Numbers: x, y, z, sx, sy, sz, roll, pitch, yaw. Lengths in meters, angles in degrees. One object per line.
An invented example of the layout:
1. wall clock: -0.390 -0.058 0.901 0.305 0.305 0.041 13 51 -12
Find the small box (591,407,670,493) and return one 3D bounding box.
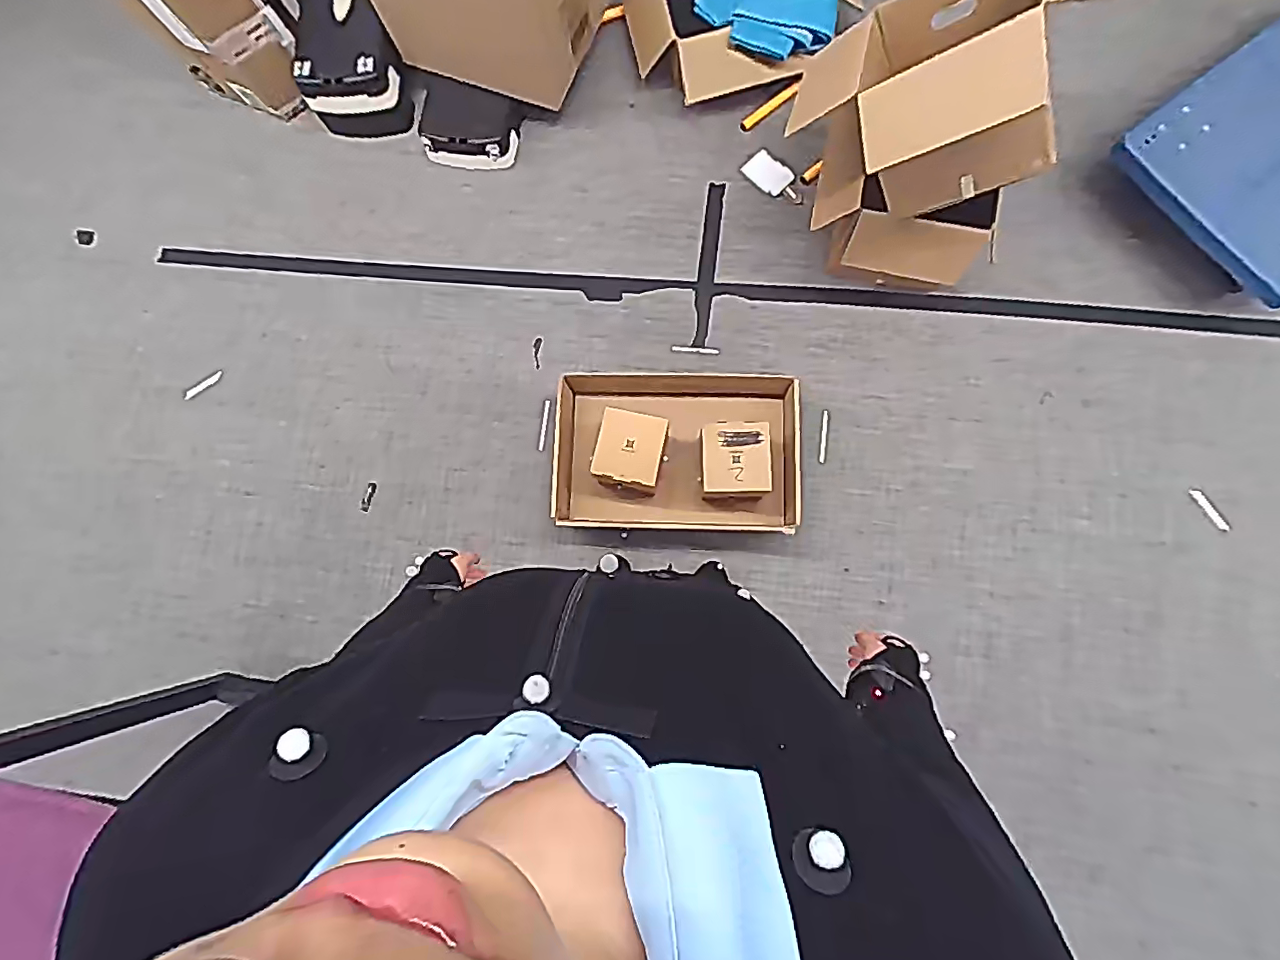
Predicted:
1. small box: -0.022 -0.074 1.420 0.168 0.176 0.179 12 83 4
